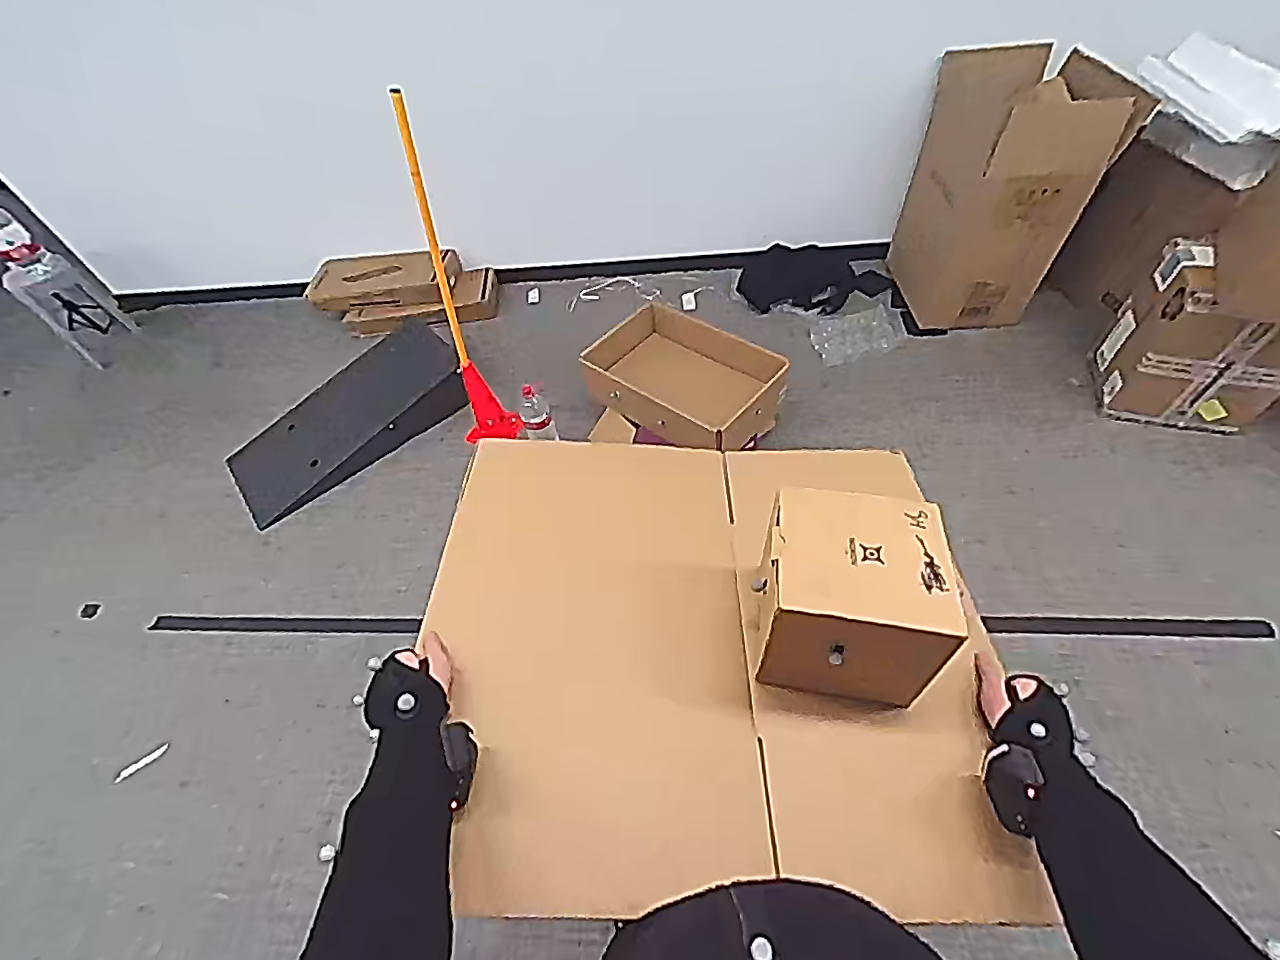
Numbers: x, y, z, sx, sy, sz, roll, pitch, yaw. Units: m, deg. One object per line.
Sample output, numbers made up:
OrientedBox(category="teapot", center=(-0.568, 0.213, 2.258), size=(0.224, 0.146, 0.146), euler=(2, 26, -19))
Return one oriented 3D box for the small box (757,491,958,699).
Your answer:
OrientedBox(category="small box", center=(0.234, 0.135, 0.629), size=(0.179, 0.176, 0.168), euler=(6, 47, 10))
